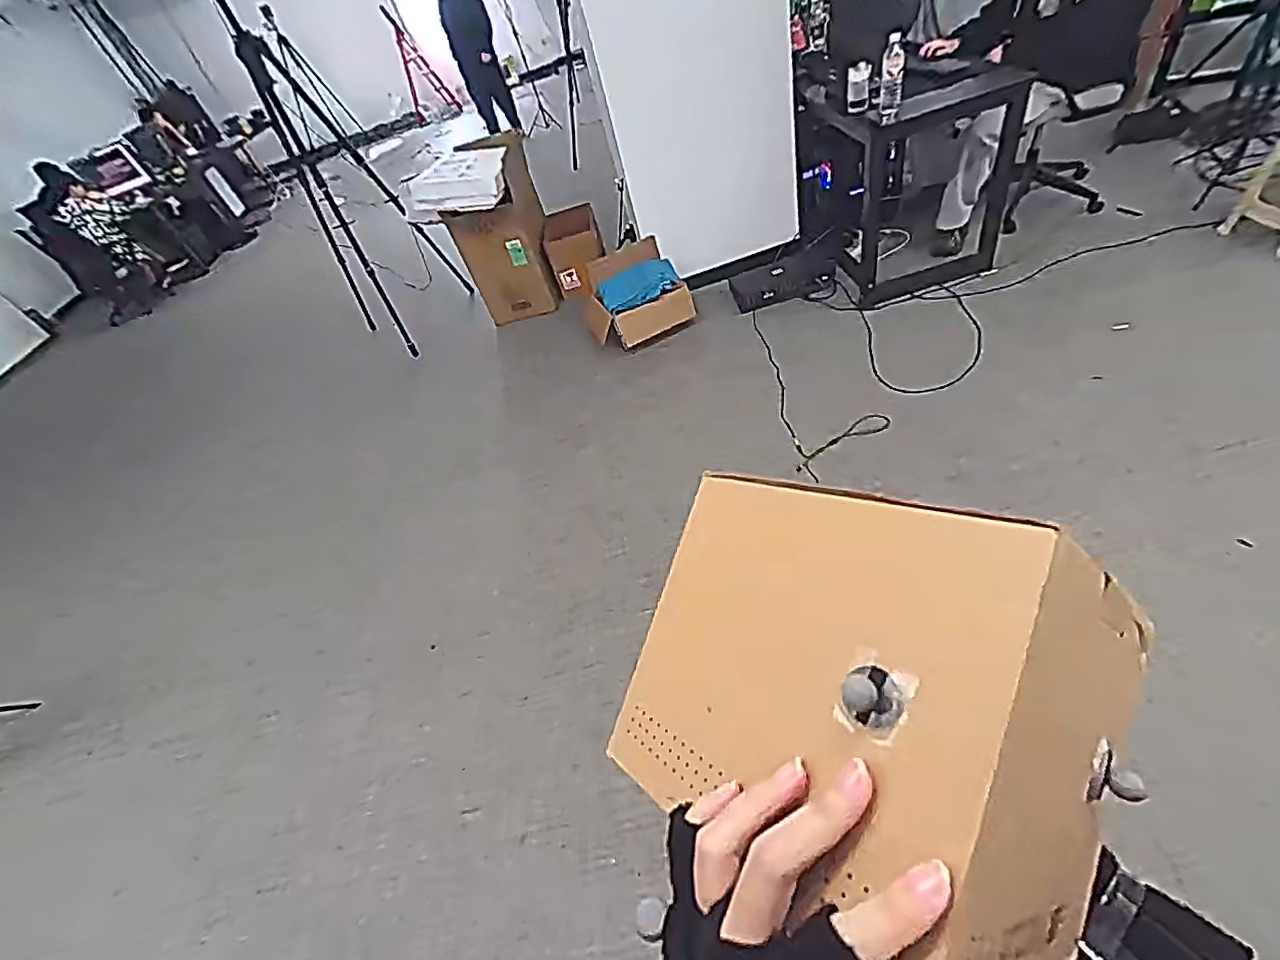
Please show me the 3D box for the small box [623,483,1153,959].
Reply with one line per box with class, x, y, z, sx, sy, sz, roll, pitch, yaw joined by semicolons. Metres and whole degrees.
small box;0.120;0.114;0.285;0.179;0.168;0.176;10;78;55
